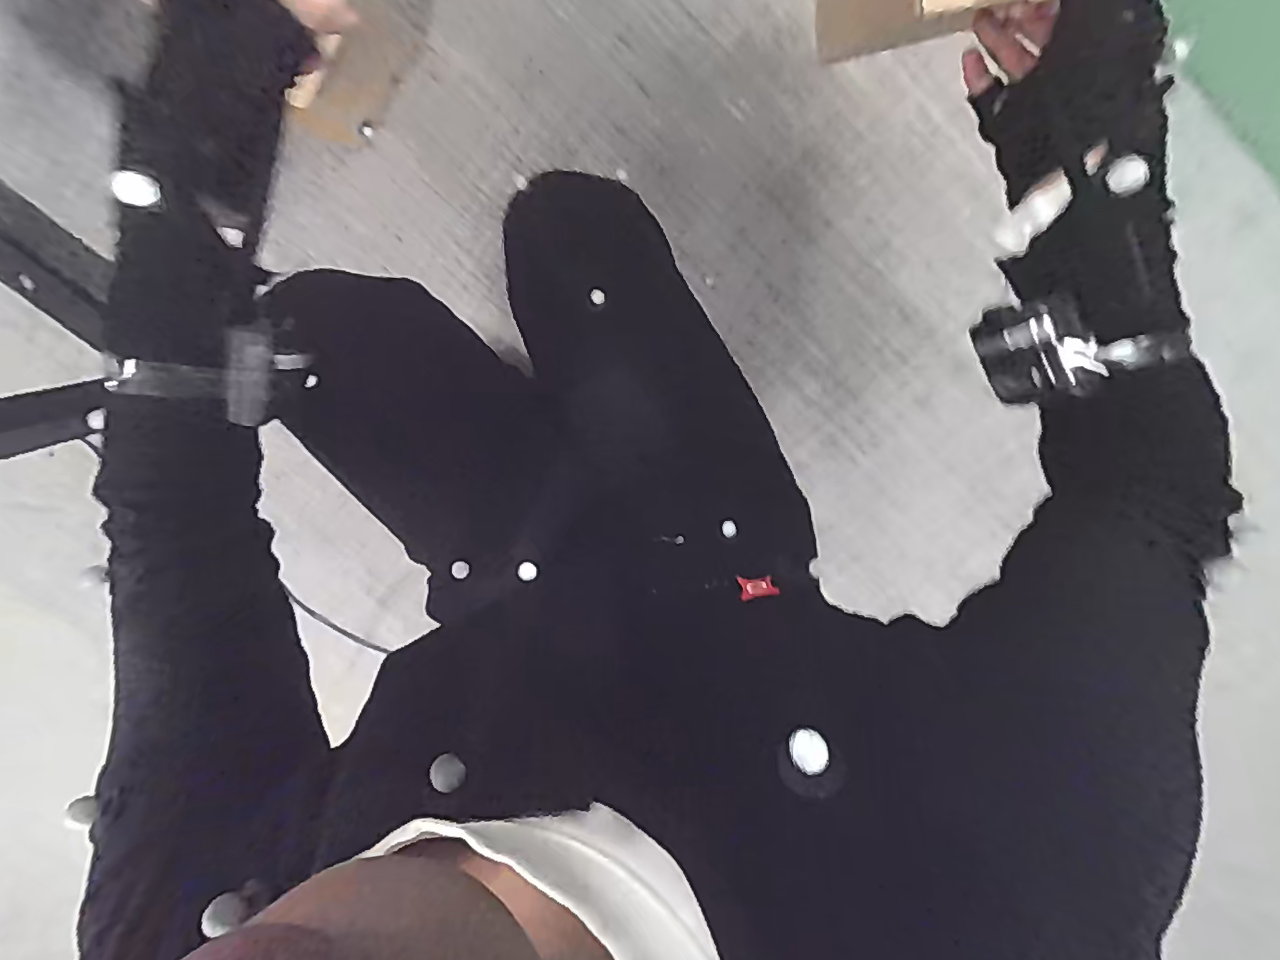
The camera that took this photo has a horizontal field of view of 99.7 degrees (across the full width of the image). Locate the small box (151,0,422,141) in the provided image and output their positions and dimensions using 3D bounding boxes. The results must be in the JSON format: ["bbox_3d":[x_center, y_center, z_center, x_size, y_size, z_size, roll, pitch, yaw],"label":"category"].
[{"bbox_3d":[-0.397,-0.535,0.635,0.179,0.176,0.168,44,112,-7],"label":"small box"}]
